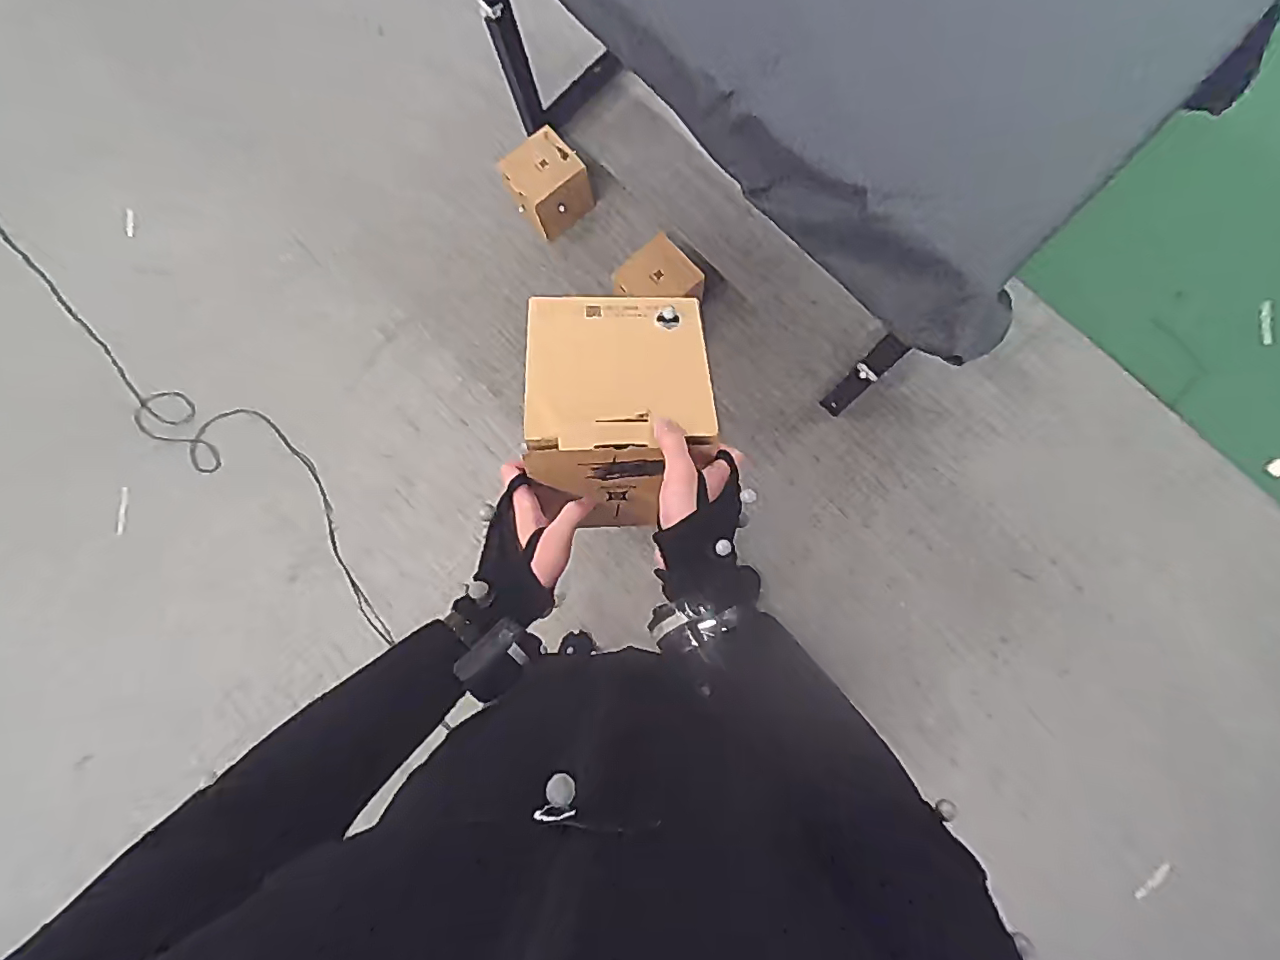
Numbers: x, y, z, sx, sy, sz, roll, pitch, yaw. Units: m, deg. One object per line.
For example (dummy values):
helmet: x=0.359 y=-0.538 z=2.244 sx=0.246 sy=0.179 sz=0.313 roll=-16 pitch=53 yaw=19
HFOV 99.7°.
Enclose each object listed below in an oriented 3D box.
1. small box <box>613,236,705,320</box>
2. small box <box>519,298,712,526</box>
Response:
small box: x=0.054 y=-0.492 z=1.431 sx=0.179 sy=0.176 sz=0.168 roll=-42 pitch=82 yaw=-3
small box: x=-0.031 y=-0.067 z=0.555 sx=0.168 sy=0.179 sz=0.176 roll=-1 pitch=60 yaw=-4
